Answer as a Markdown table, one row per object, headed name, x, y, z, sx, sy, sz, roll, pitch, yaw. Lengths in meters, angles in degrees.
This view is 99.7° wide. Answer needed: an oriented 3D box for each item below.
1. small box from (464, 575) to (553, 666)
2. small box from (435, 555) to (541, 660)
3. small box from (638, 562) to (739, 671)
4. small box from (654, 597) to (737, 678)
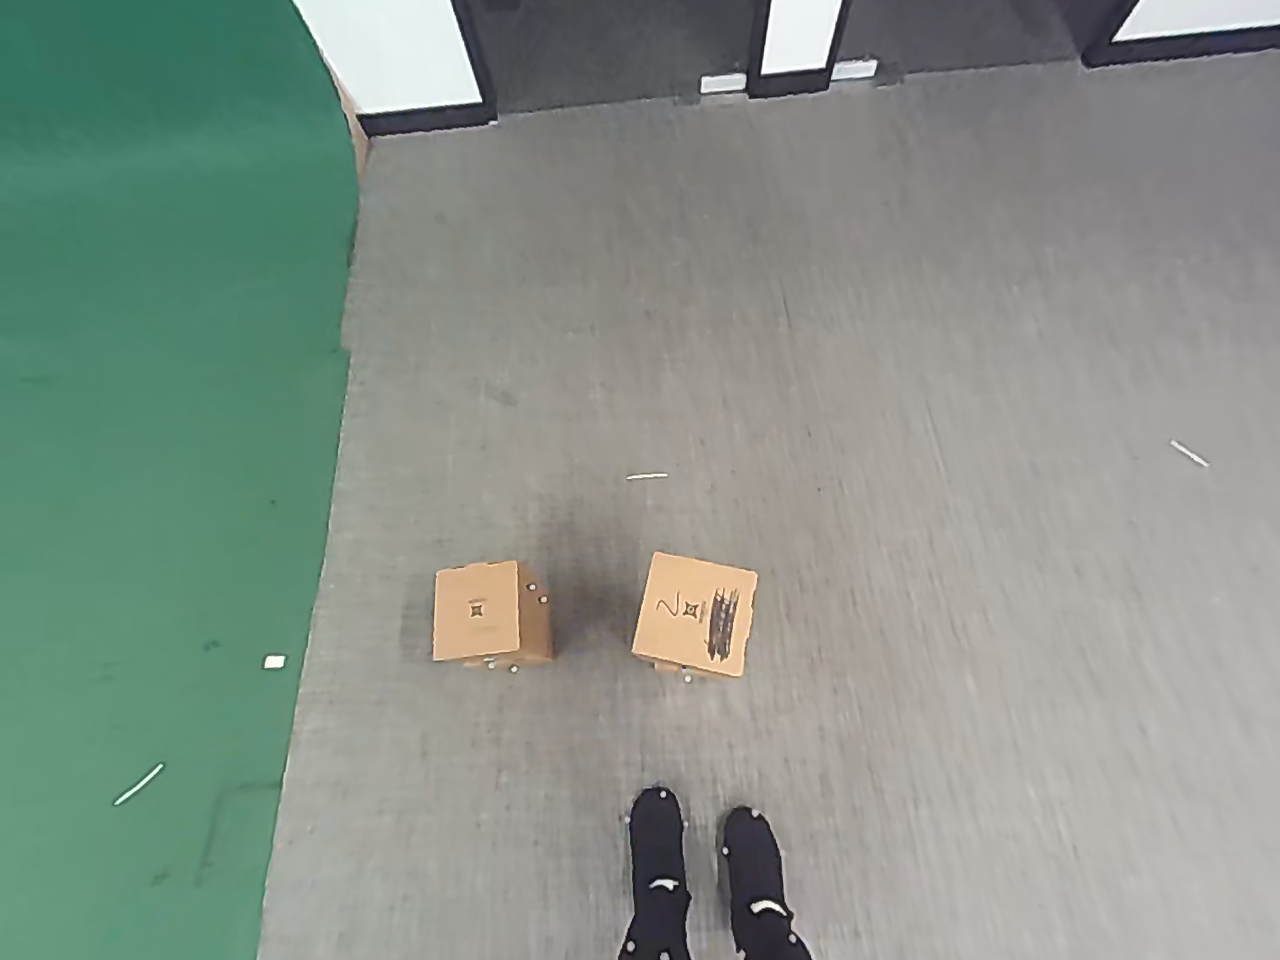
| name | x | y | z | sx | sy | sz | roll | pitch | yaw |
| --- | --- | --- | --- | --- | --- | --- | --- | --- | --- |
| small box | -0.303 | 0.330 | 1.257 | 0.168 | 0.176 | 0.179 | -8 | 69 | 0 |
| small box | -0.305 | 0.267 | 1.107 | 0.168 | 0.176 | 0.179 | -8 | 69 | 1 |
| small box | 0.097 | 0.278 | 1.082 | 0.168 | 0.176 | 0.179 | 9 | 70 | 7 |
| small box | 0.124 | 0.347 | 1.228 | 0.168 | 0.176 | 0.179 | 5 | 70 | 5 |
